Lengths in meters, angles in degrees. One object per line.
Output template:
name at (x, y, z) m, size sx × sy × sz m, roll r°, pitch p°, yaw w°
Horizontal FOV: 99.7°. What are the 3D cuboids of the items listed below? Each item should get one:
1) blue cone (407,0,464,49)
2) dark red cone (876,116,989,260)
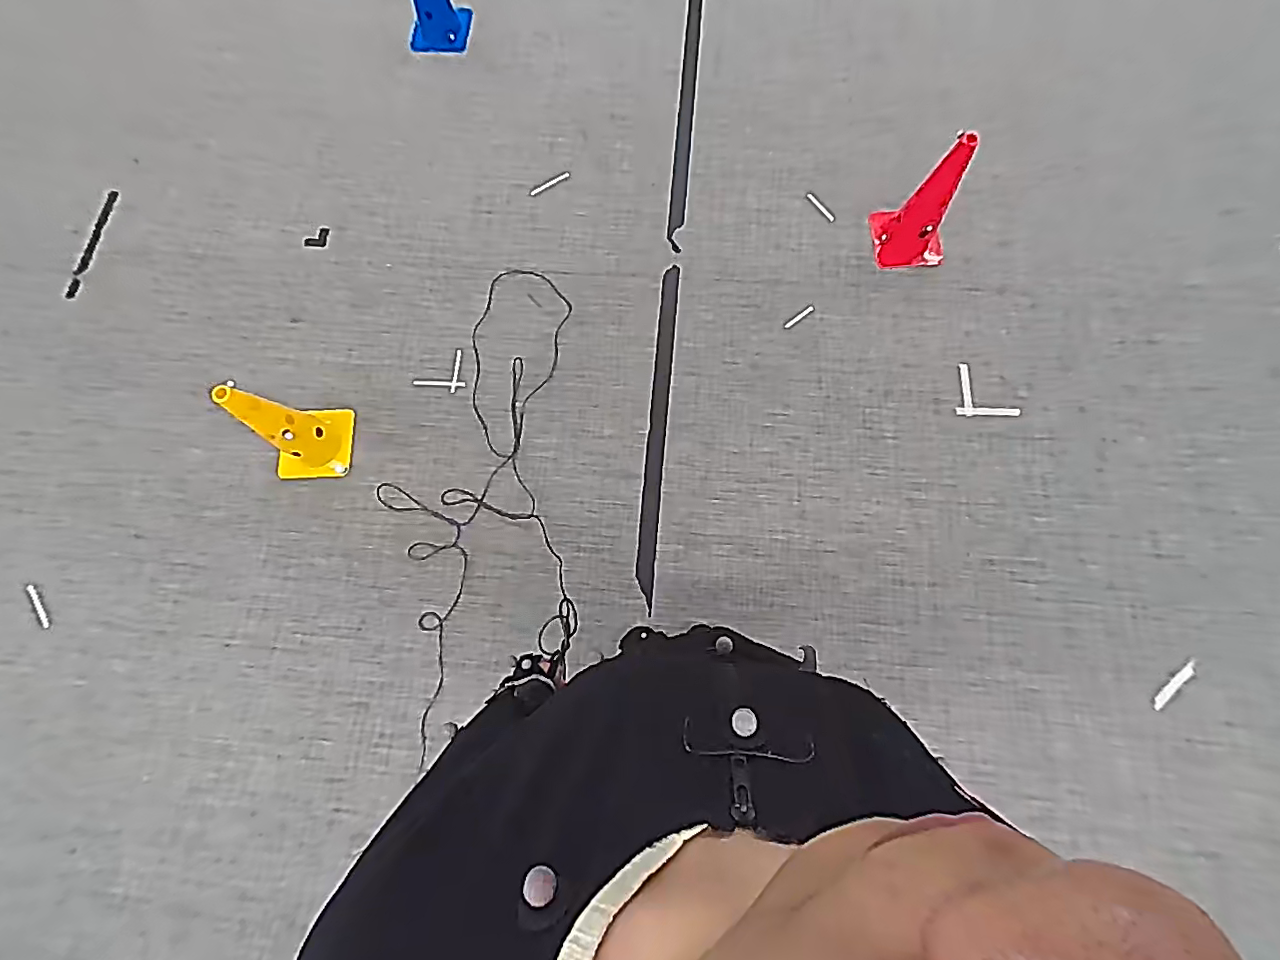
blue cone at (-0.722, -1.620, 1.727) m, size 0.192 × 0.380 × 0.193 m, roll 4°, pitch 75°, yaw 4°
dark red cone at (0.800, -0.783, 1.438) m, size 0.201 × 0.394 × 0.202 m, roll -4°, pitch 75°, yaw 2°
